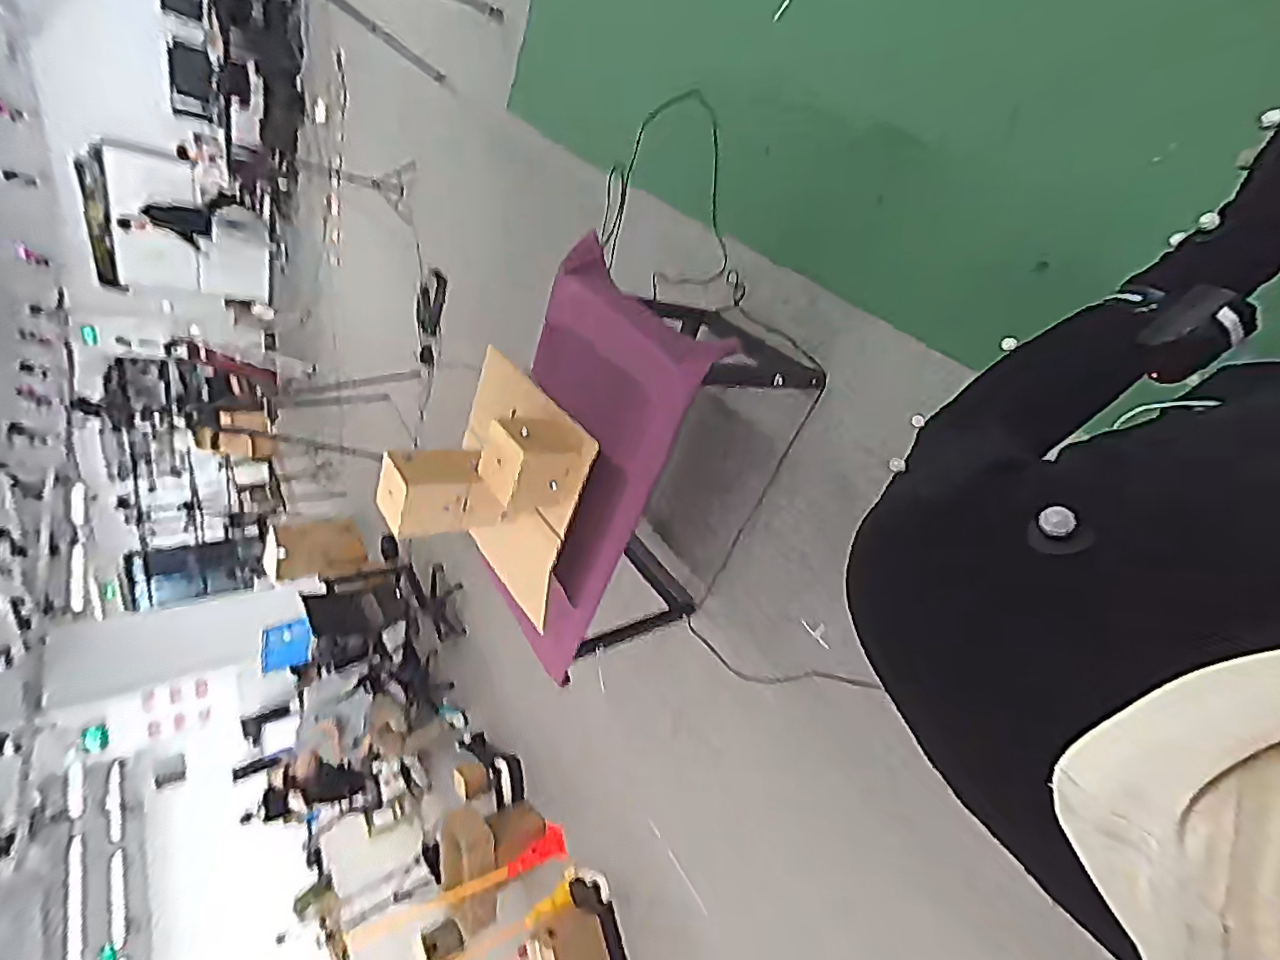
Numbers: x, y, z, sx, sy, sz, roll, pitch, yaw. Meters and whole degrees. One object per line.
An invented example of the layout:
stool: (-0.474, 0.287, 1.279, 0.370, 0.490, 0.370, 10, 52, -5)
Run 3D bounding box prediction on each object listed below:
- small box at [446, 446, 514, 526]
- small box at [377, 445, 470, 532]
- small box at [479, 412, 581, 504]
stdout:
small box: (-0.467, 0.010, 1.578, 0.179, 0.176, 0.168, 44, 122, 36)
small box: (-0.588, 0.019, 1.467, 0.179, 0.176, 0.168, 43, 122, 35)
small box: (-0.282, -0.058, 1.380, 0.179, 0.176, 0.168, 43, 123, 34)
